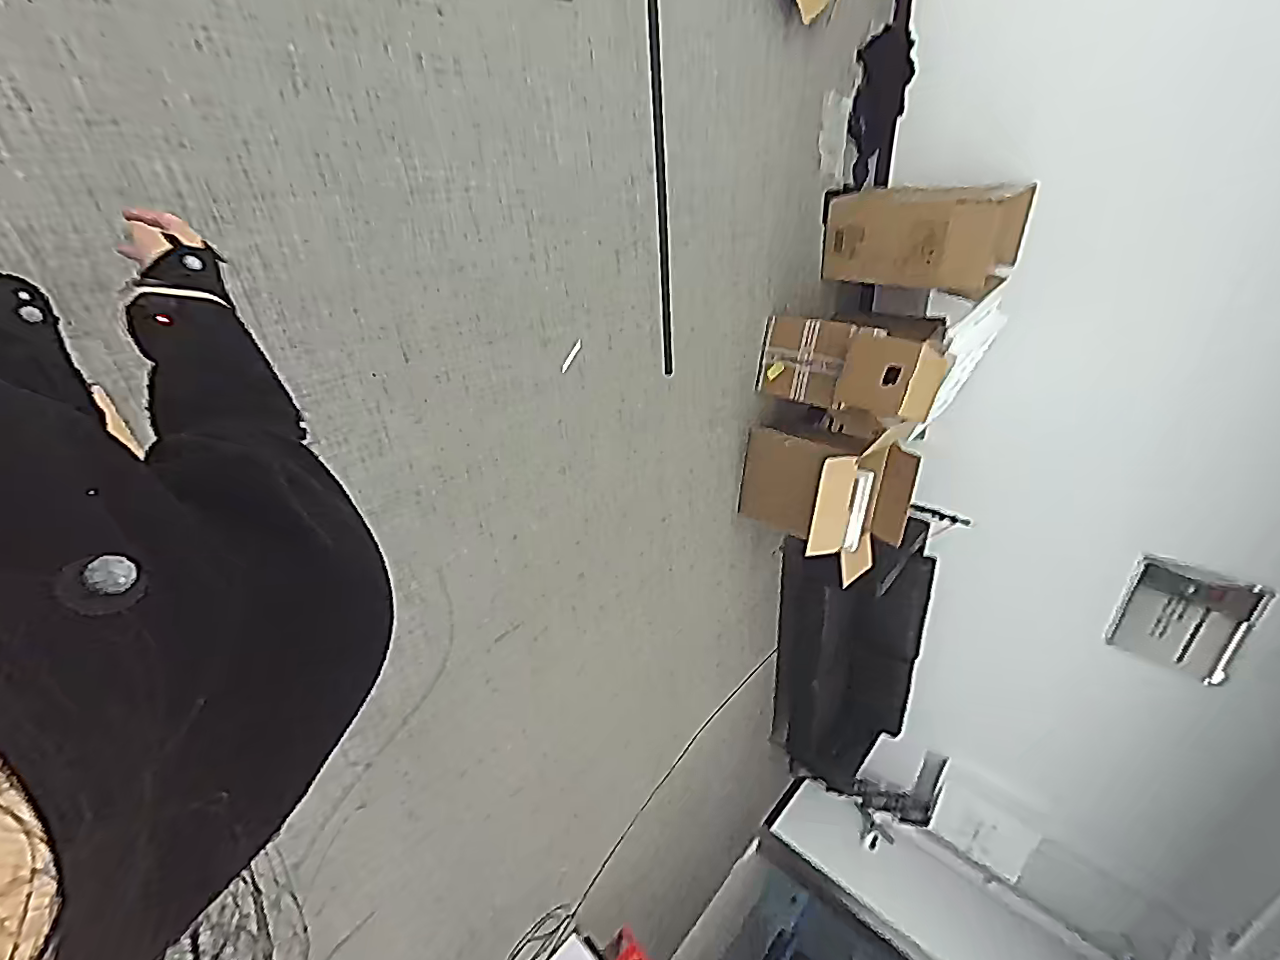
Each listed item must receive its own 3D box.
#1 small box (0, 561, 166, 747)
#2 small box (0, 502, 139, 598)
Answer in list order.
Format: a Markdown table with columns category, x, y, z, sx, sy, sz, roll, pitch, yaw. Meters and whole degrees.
| category | x | y | z | sx | sy | sz | roll | pitch | yaw |
| --- | --- | --- | --- | --- | --- | --- | --- | --- | --- |
| small box | -0.880 | 0.256 | 0.834 | 0.168 | 0.176 | 0.179 | -29 | 126 | -38 |
| small box | -1.117 | 0.156 | 1.041 | 0.168 | 0.176 | 0.179 | -26 | 126 | -38 |
